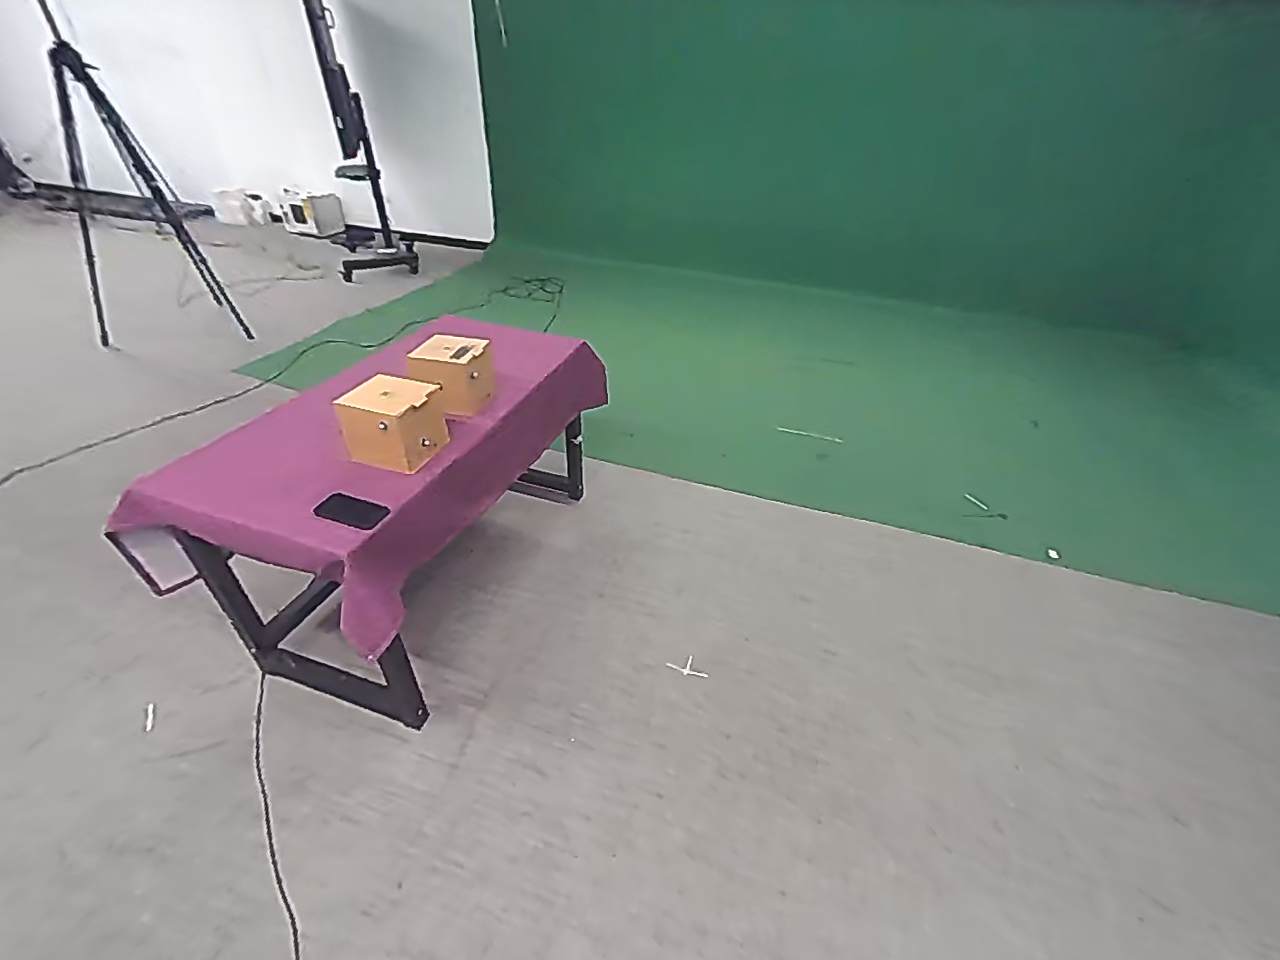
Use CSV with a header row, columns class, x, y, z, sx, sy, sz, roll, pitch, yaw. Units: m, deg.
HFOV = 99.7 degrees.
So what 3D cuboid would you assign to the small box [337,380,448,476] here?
class,x,y,z,sx,sy,sz,roll,pitch,yaw
small box,-0.610,-0.129,1.353,0.179,0.176,0.168,13,37,12
